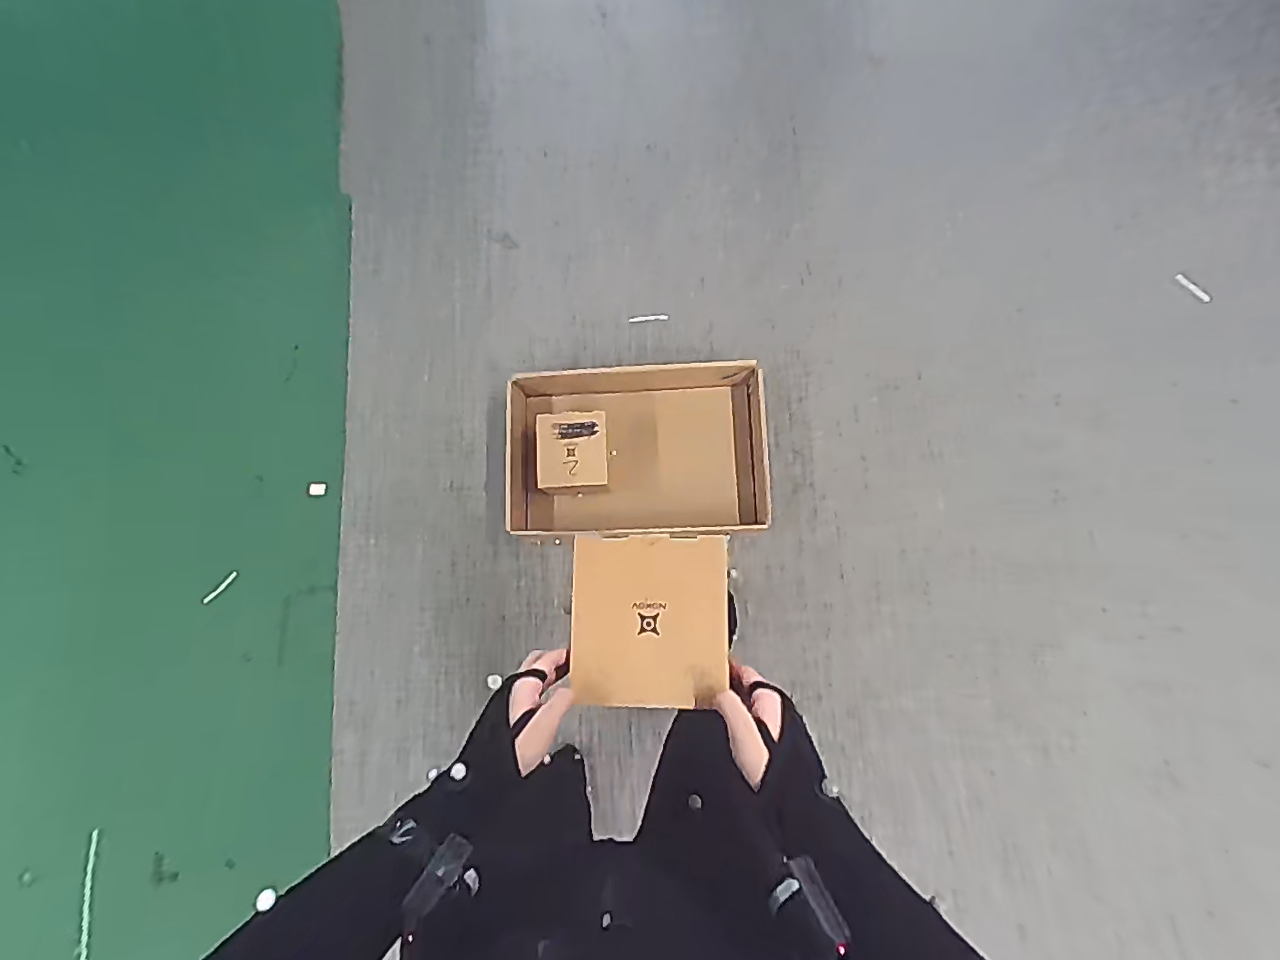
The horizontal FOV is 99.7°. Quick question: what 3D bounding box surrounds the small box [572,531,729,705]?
[{"bbox_3d":[0.019,0.156,0.644,0.168,0.176,0.179,0,78,5],"label":"small box"}]
